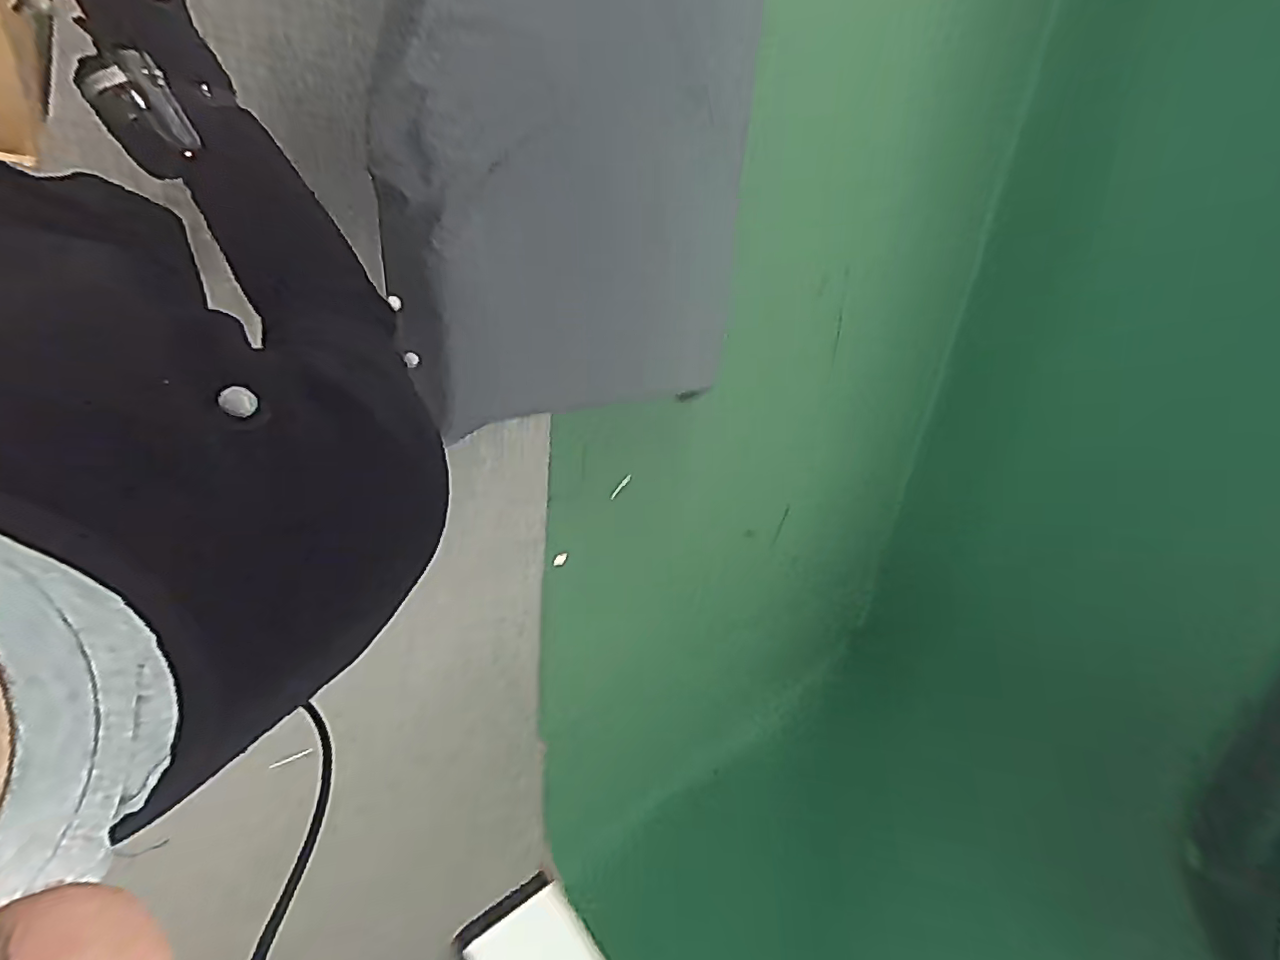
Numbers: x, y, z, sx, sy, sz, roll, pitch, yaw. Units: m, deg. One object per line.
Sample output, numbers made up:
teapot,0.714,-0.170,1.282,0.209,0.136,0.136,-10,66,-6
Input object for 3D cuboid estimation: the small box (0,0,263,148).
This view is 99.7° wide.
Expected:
small box,-0.359,-0.359,0.316,0.176,0.168,0.179,-42,165,12
